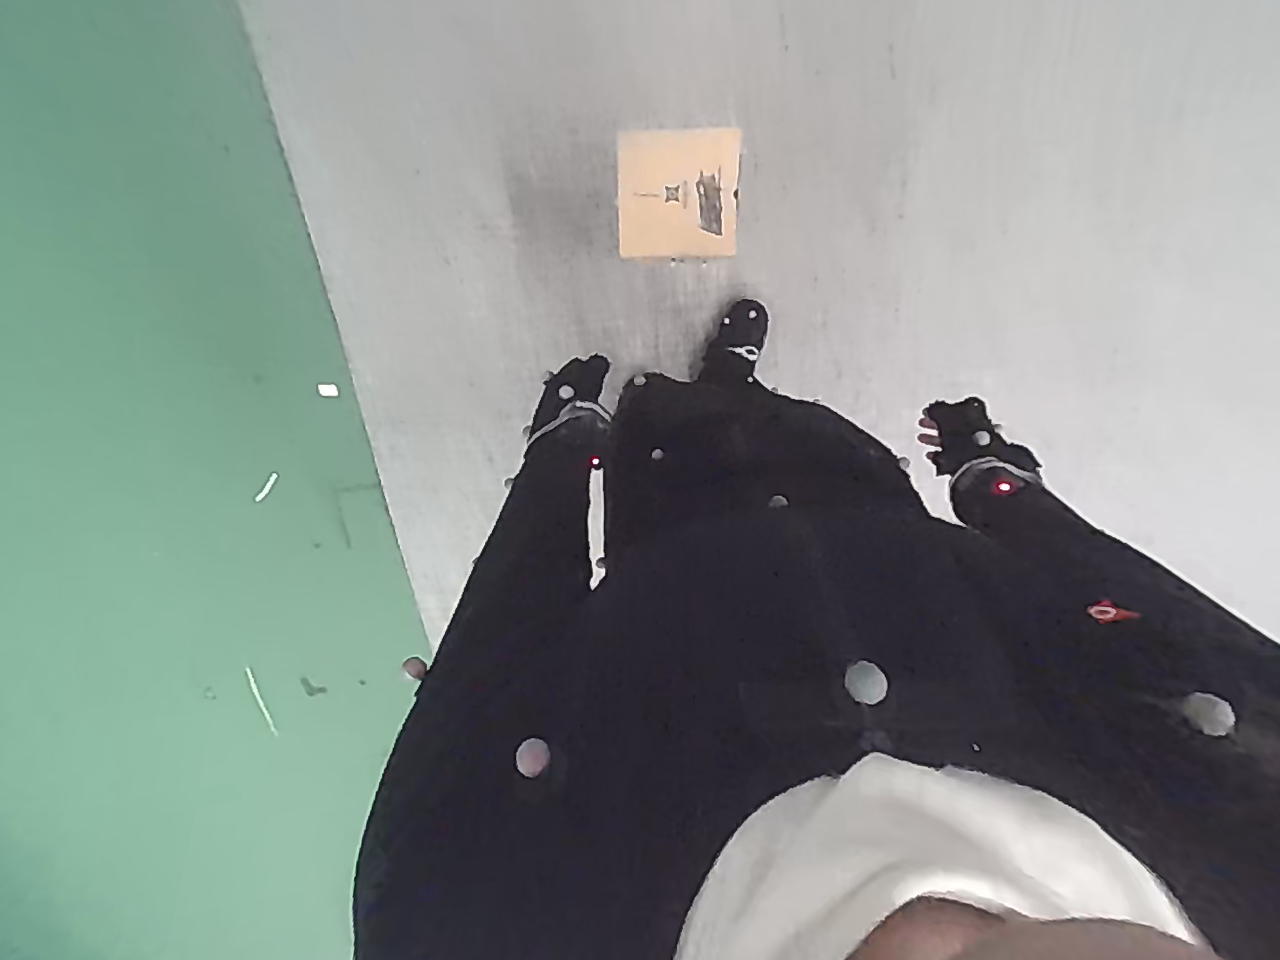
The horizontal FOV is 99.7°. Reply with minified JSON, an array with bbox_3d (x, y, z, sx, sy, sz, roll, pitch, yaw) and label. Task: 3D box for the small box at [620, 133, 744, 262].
[{"bbox_3d":[0.063,-0.436,0.853,0.179,0.176,0.168,2,111,5],"label":"small box"}]
